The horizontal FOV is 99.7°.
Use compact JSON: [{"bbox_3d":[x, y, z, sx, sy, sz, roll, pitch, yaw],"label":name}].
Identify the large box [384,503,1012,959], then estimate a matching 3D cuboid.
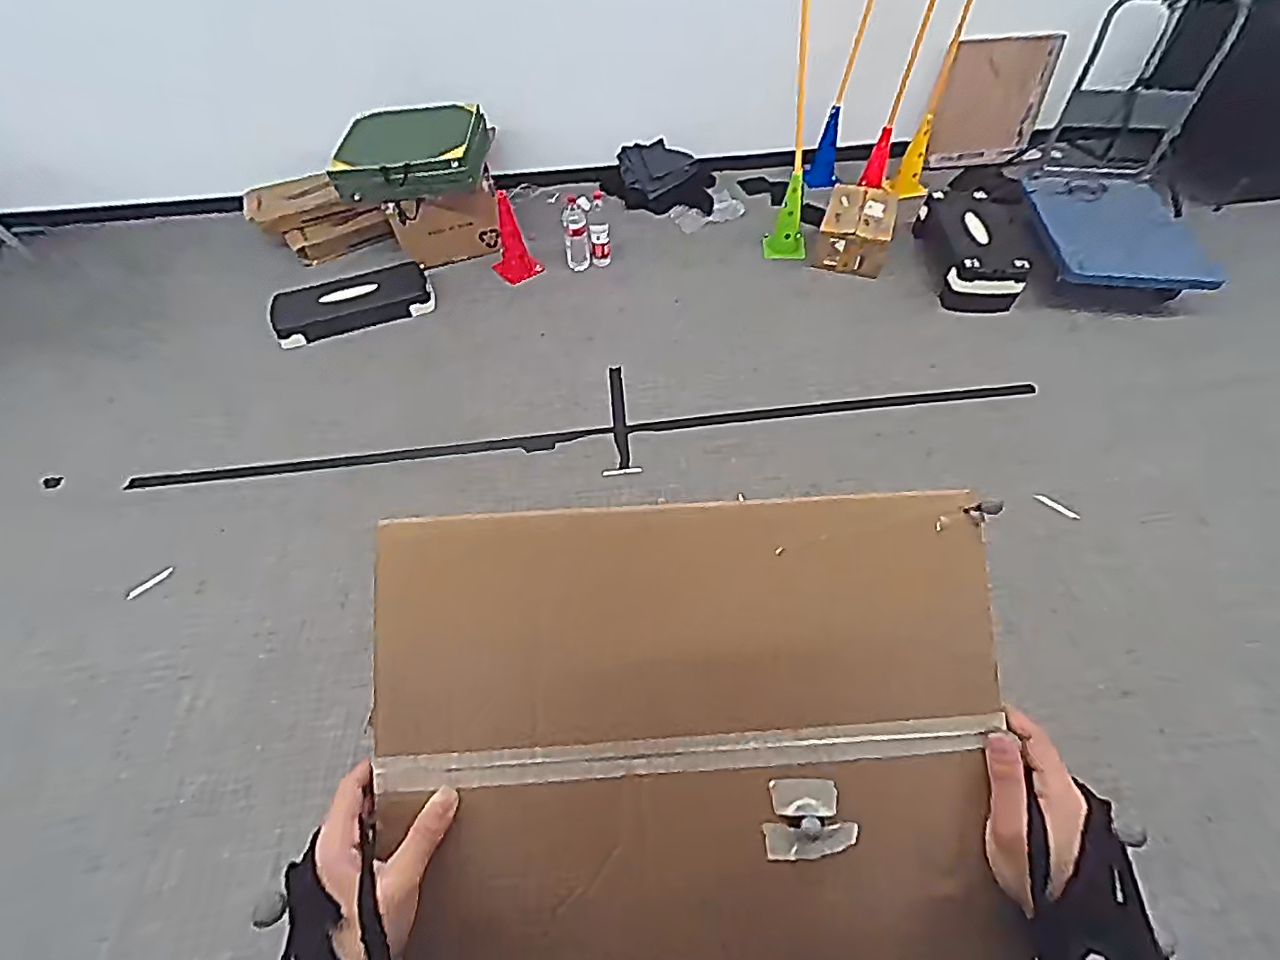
[{"bbox_3d":[0.028,0.198,0.504,0.408,0.320,0.320,-3,85,-3],"label":"large box"}]
